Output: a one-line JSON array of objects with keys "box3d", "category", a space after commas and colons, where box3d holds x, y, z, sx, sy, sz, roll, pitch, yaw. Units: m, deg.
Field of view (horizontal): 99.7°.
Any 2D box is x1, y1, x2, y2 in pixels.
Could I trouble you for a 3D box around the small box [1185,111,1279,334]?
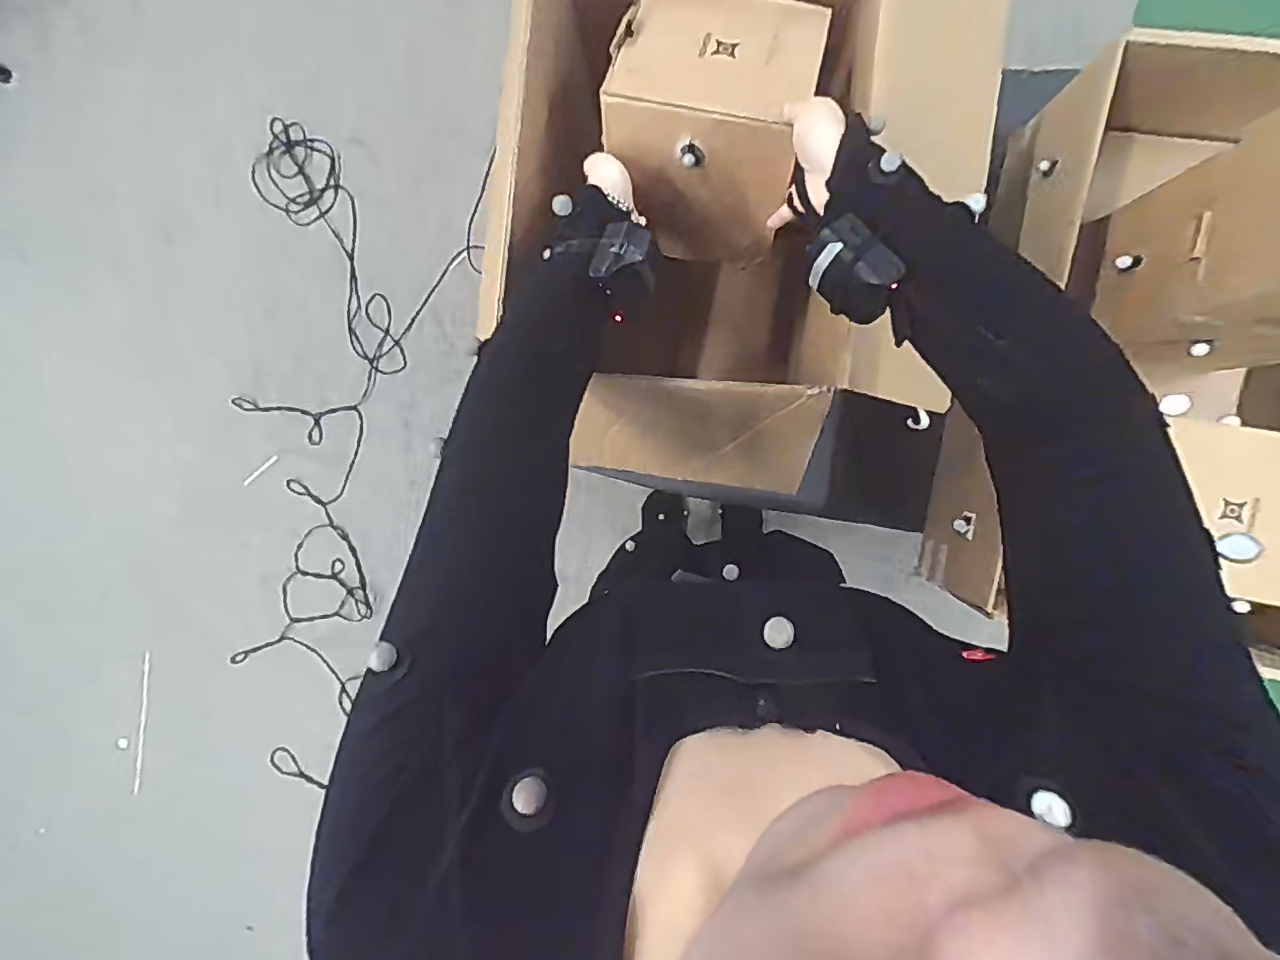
[{"box3d": [0.610, -0.223, 0.434, 0.168, 0.176, 0.179, 12, 96, 5], "category": "small box"}]
